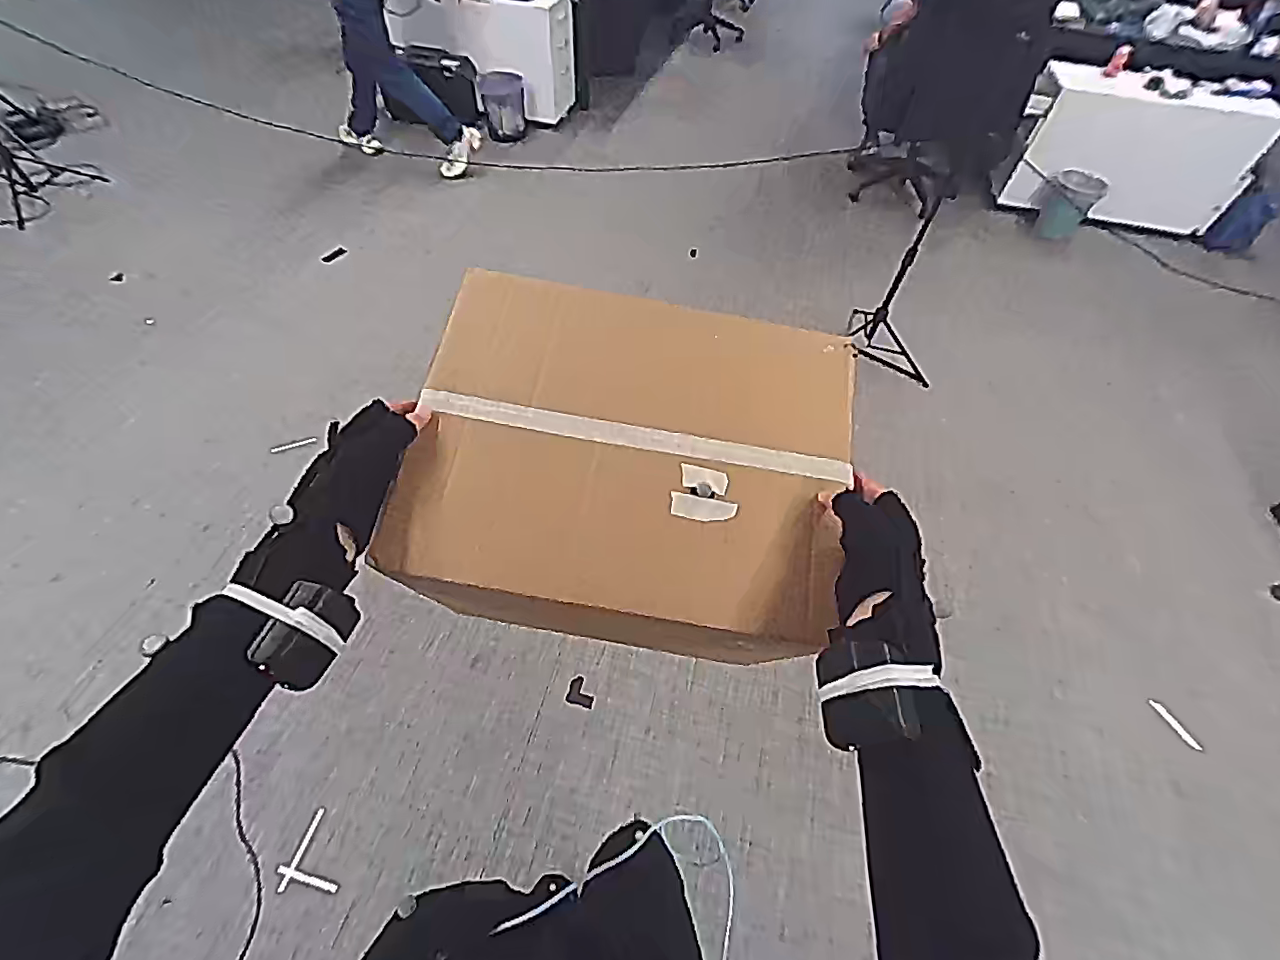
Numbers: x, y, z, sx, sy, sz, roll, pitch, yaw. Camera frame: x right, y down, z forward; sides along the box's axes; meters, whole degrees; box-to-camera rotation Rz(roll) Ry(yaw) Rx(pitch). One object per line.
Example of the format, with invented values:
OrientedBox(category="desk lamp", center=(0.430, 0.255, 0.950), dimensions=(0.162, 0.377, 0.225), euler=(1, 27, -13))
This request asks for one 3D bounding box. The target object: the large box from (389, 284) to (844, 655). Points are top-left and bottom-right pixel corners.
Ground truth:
OrientedBox(category="large box", center=(-0.013, 0.016, 0.657), dimensions=(0.408, 0.320, 0.320), euler=(10, 69, -1))
